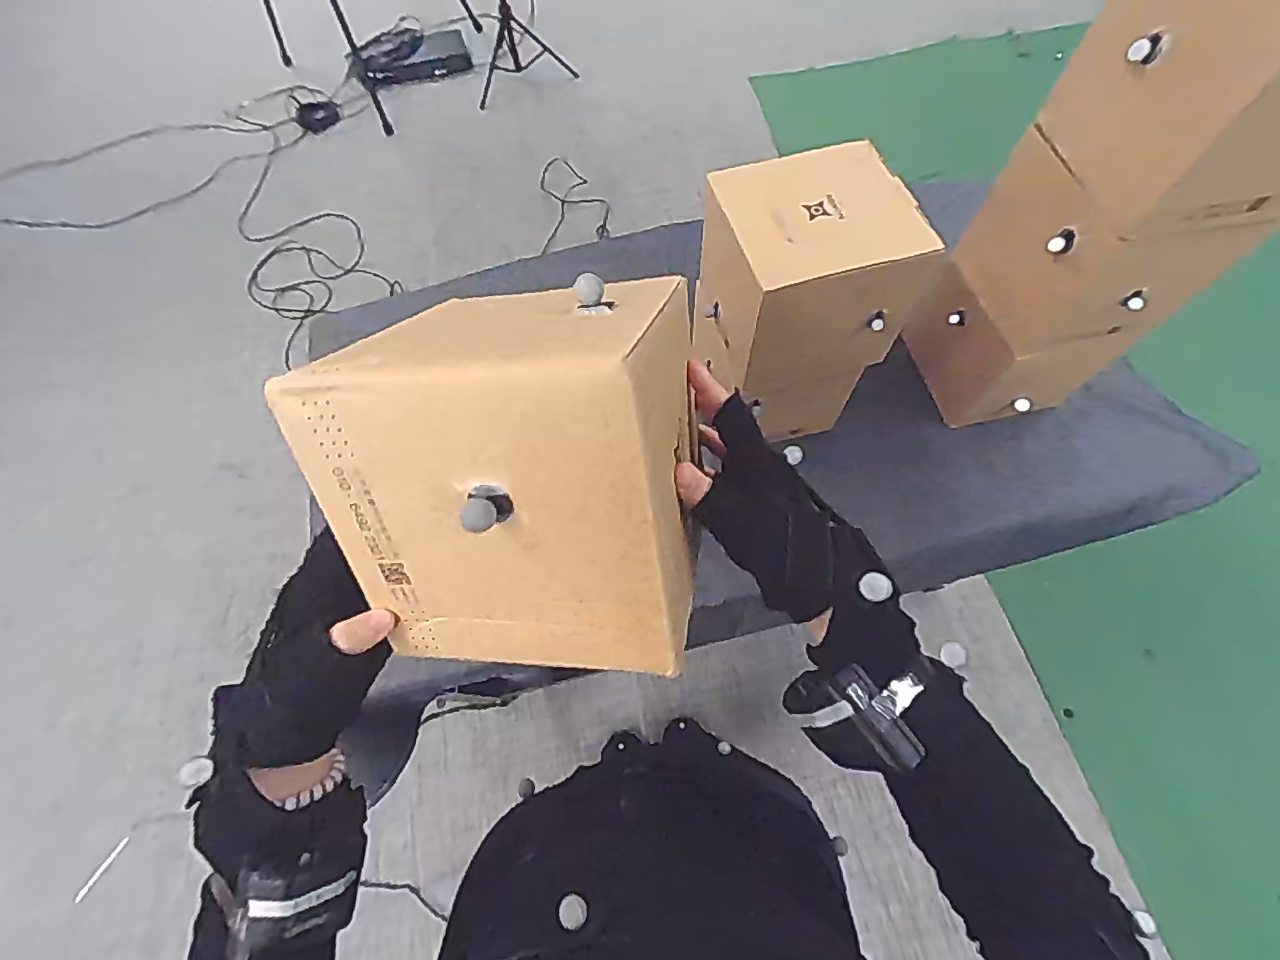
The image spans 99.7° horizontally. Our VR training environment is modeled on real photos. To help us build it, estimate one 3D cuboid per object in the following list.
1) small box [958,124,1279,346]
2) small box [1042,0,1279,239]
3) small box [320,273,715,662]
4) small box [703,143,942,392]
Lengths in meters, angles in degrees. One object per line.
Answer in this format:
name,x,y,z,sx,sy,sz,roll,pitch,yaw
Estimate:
small box,0.495,-0.266,0.593,0.168,0.176,0.179,-10,65,-1
small box,0.485,-0.332,0.443,0.168,0.176,0.179,-9,65,0
small box,-0.054,-0.015,0.327,0.176,0.168,0.179,-2,31,14
small box,0.177,-0.221,0.591,0.179,0.176,0.168,-15,65,-4
